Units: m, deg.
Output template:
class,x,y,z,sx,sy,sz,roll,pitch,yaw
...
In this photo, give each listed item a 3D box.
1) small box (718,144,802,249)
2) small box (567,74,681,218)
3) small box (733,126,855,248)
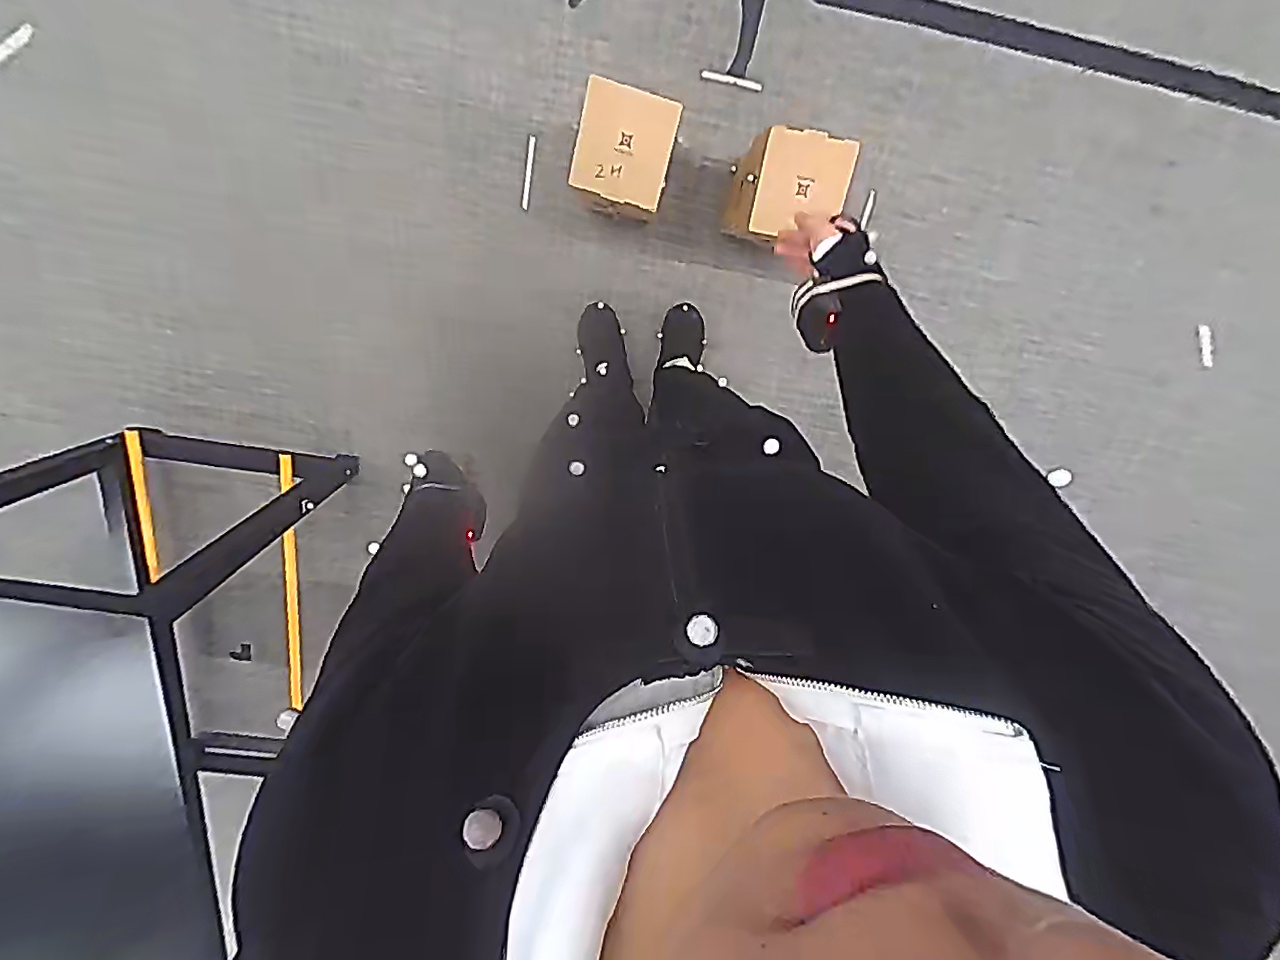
class,x,y,z,sx,sy,sz,roll,pitch,yaw
small box,0.288,-0.621,1.208,0.179,0.176,0.168,12,112,-8
small box,-0.033,-0.614,1.018,0.168,0.176,0.179,14,111,-7
small box,0.288,-0.562,1.057,0.168,0.176,0.179,8,113,-4
